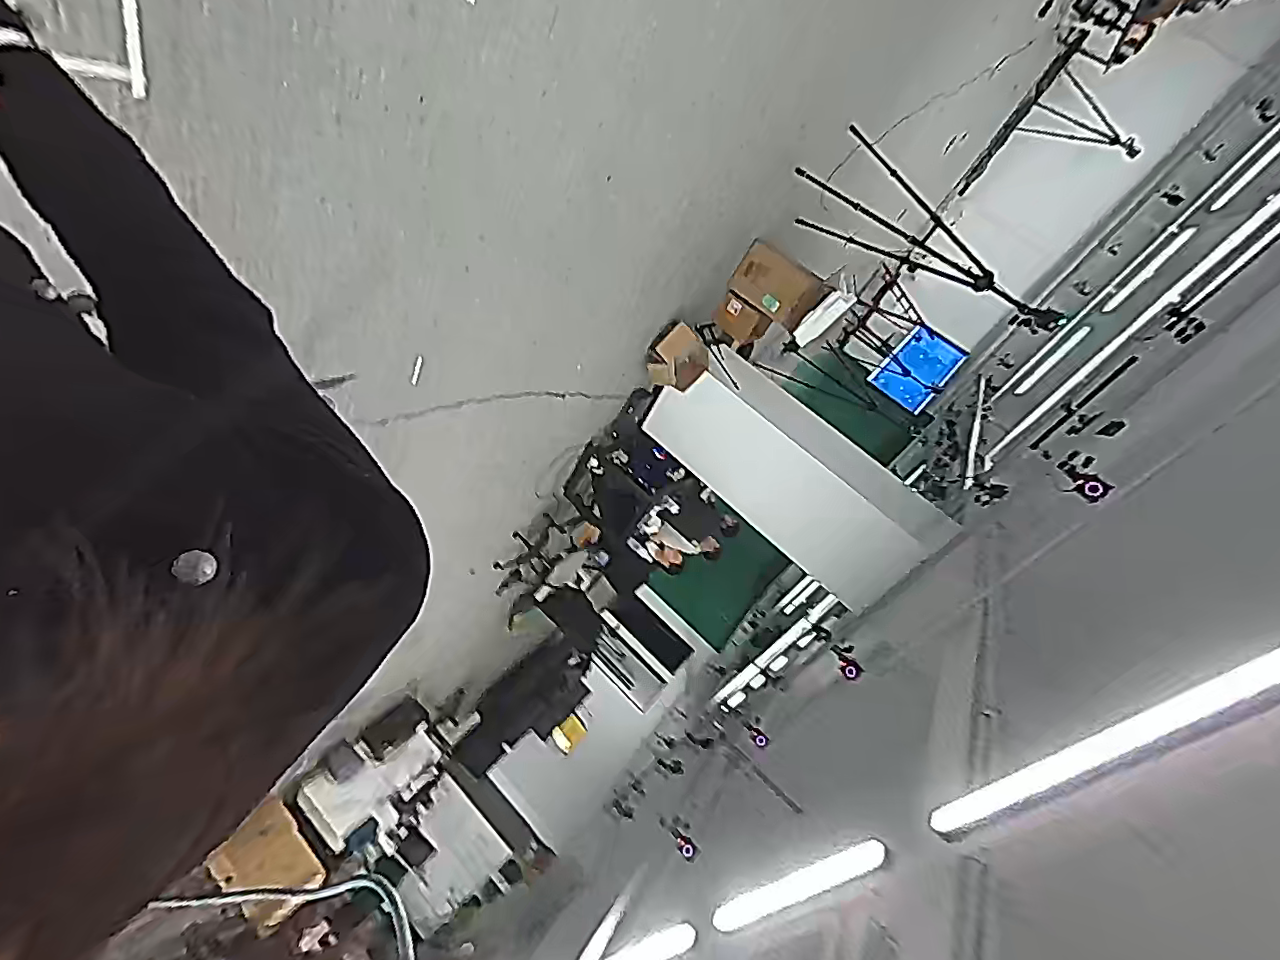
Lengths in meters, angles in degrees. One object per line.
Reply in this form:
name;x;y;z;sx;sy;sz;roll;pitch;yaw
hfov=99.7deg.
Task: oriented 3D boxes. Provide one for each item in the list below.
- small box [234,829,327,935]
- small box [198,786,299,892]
small box;-1.063;1.179;1.596;0.168;0.176;0.179;-30;158;-54
small box;-1.183;1.077;1.636;0.168;0.176;0.179;-56;165;26
